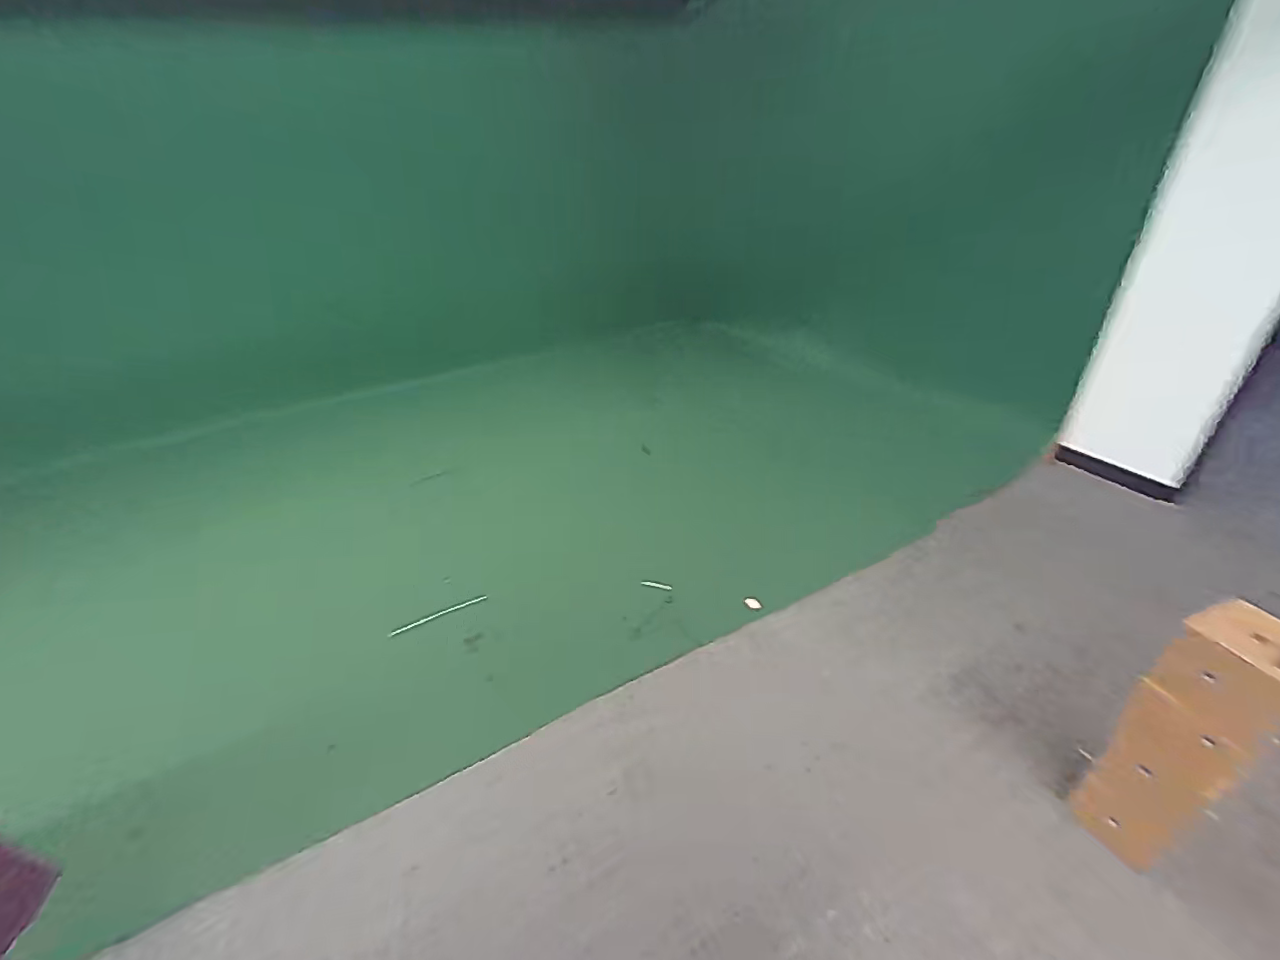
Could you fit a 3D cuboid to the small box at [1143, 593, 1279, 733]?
[{"bbox_3d":[1.141,0.354,1.036,0.168,0.176,0.179,-14,34,-14],"label":"small box"}]
